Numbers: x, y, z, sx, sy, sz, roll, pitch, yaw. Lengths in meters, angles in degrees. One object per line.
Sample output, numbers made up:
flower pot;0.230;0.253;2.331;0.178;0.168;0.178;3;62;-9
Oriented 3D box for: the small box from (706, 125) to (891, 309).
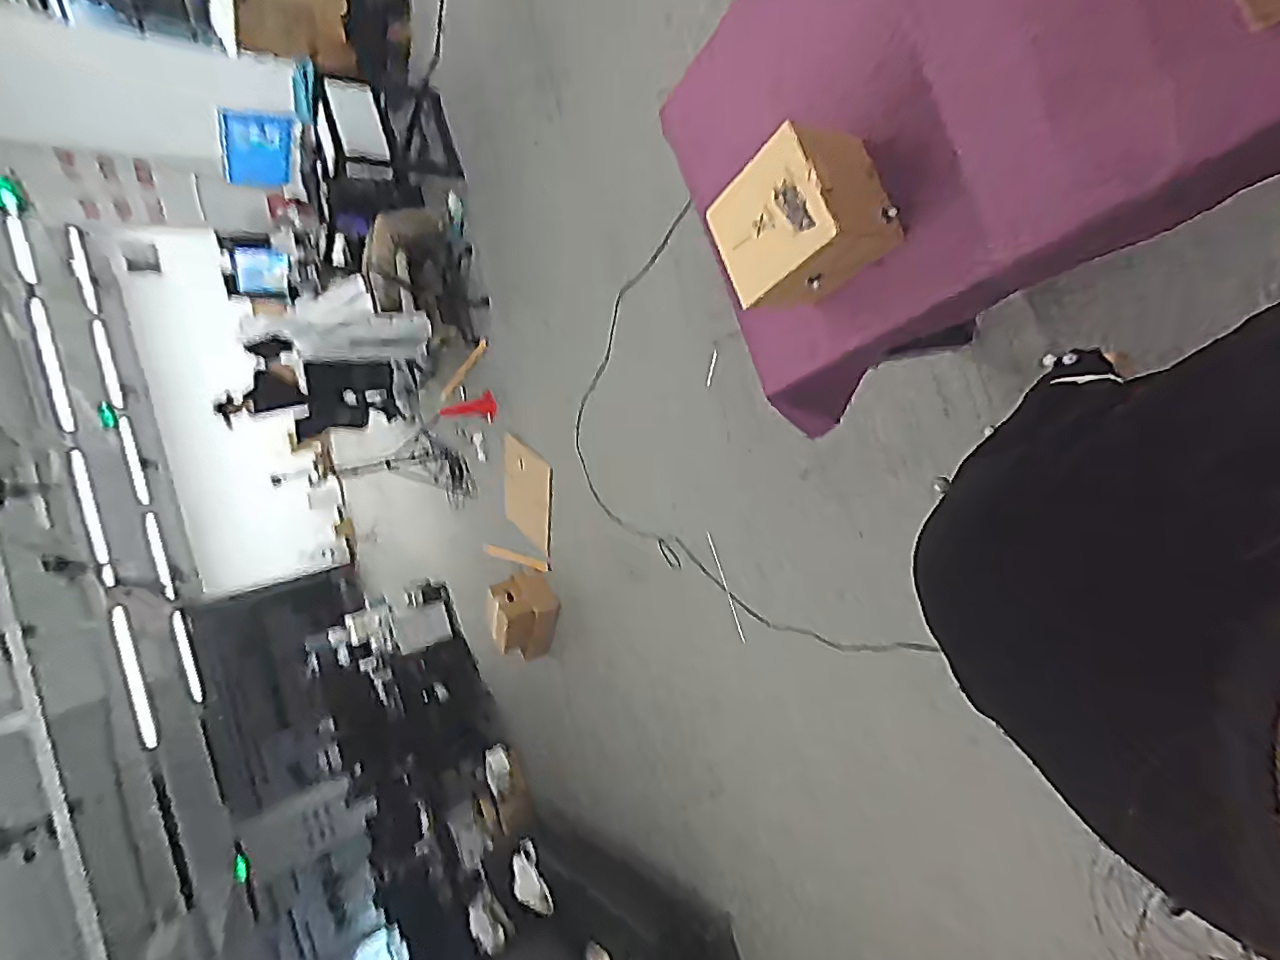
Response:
small box;0.234;-0.371;0.788;0.179;0.176;0.168;-31;78;55
